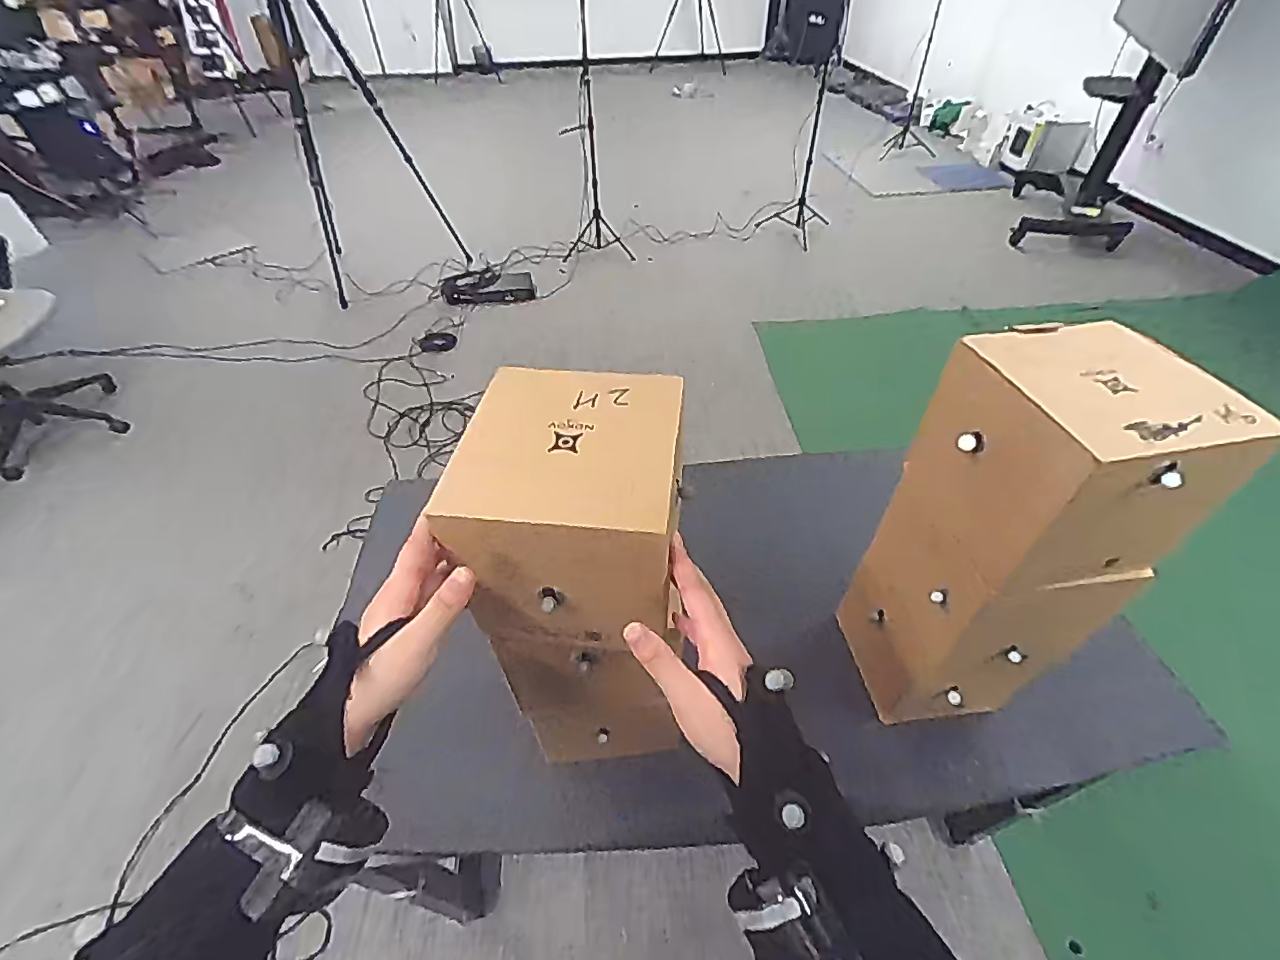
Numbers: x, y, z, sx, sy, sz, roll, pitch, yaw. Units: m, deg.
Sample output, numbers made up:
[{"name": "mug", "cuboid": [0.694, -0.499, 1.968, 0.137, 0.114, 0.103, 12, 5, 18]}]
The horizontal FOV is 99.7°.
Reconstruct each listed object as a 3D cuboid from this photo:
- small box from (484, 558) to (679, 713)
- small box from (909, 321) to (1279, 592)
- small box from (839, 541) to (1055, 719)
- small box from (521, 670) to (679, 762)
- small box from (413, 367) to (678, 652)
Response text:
[{"name": "small box", "cuboid": [-0.055, 0.136, 0.584, 0.179, 0.176, 0.168, -4, 47, -3]}, {"name": "small box", "cuboid": [0.385, -0.024, 0.498, 0.168, 0.176, 0.179, -8, 45, -6]}, {"name": "small box", "cuboid": [0.393, 0.206, 0.733, 0.168, 0.176, 0.179, -5, 45, -4]}, {"name": "small box", "cuboid": [-0.049, 0.247, 0.702, 0.179, 0.176, 0.168, -6, 46, -3]}, {"name": "small box", "cuboid": [-0.057, 0.026, 0.459, 0.168, 0.176, 0.179, 4, 46, 6]}]
